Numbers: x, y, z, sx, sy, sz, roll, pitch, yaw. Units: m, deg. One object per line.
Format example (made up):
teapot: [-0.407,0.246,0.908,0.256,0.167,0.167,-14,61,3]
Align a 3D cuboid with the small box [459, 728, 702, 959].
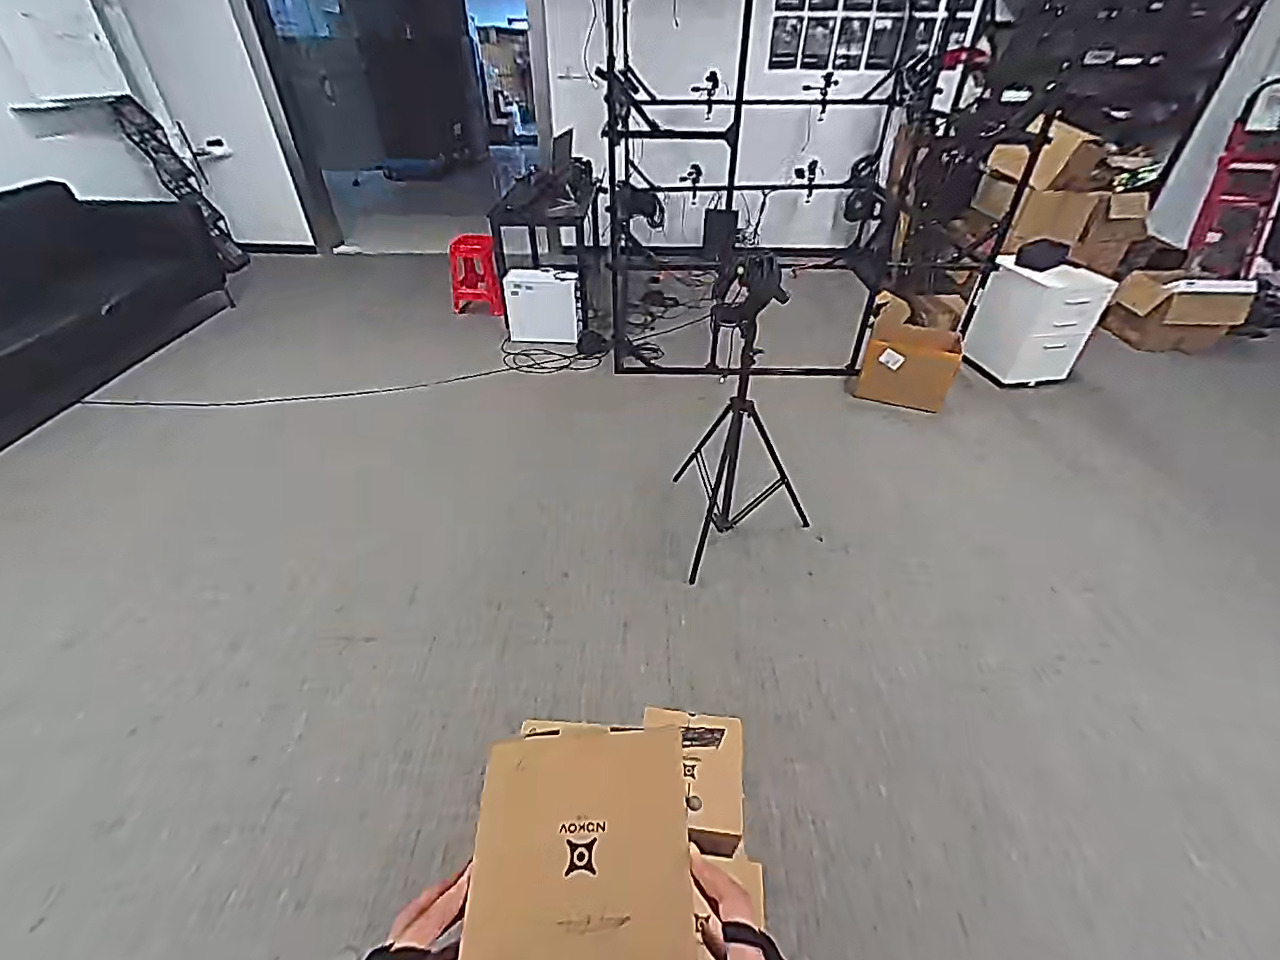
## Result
small box: [-0.037,0.331,0.460,0.168,0.176,0.179,-3,47,2]
